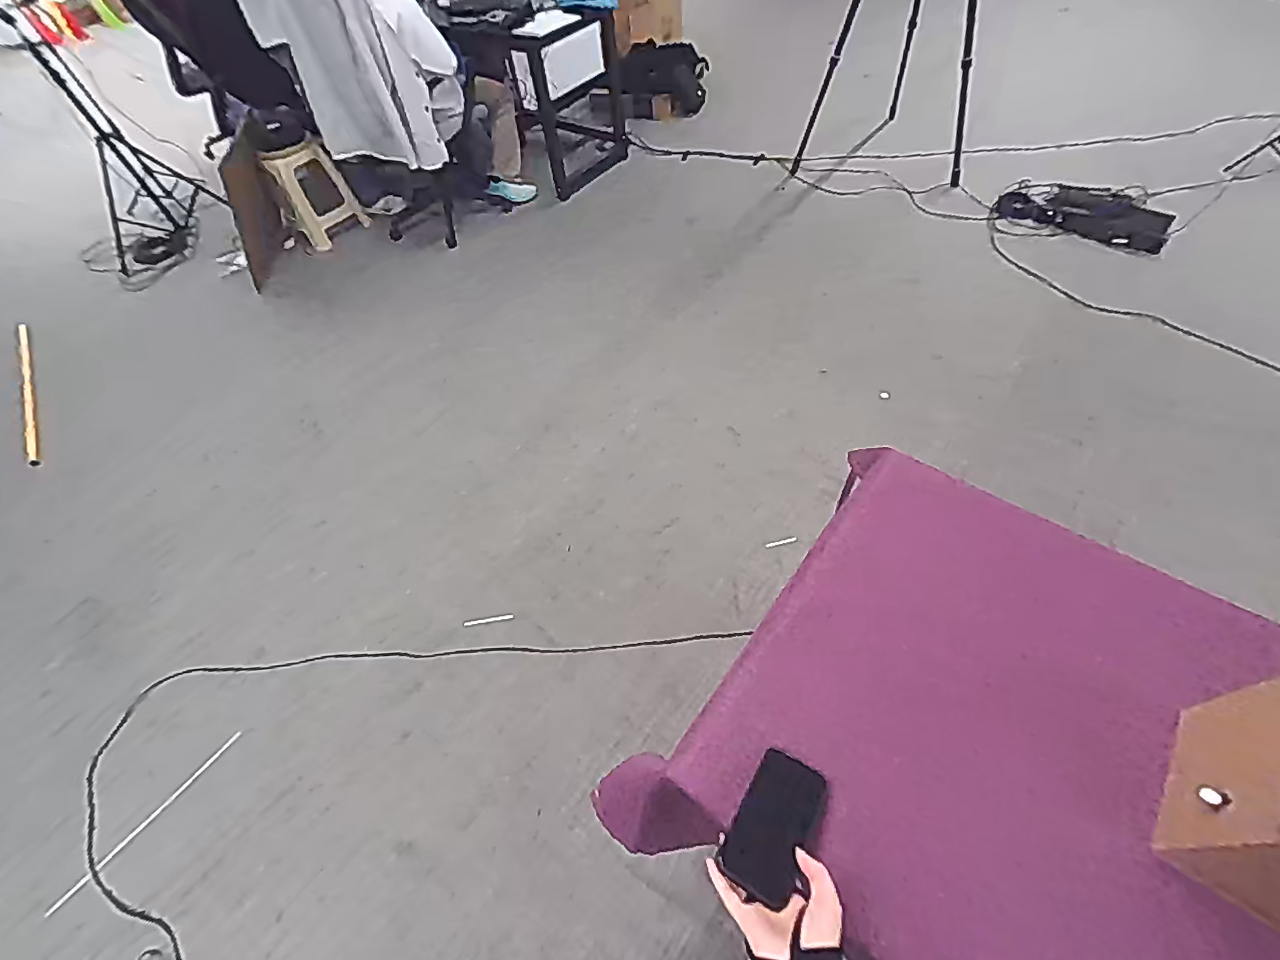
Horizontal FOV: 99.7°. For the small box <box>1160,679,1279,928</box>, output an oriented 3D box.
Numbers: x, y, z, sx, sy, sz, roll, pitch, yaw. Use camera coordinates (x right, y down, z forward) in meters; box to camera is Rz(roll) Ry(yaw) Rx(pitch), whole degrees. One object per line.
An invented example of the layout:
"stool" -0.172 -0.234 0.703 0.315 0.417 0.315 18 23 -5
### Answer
"small box" 0.627 0.312 0.484 0.168 0.176 0.179 30 62 25
